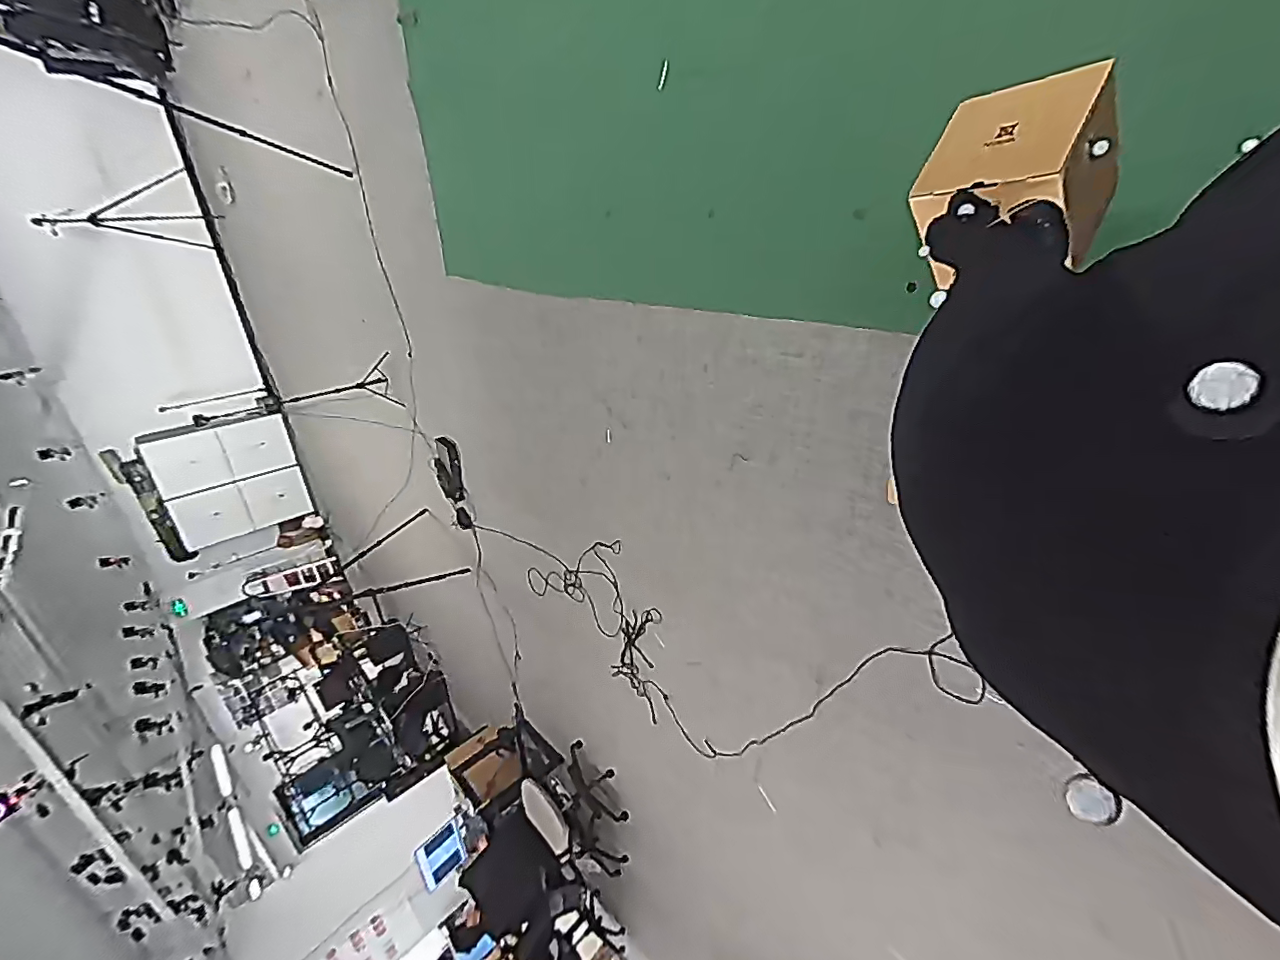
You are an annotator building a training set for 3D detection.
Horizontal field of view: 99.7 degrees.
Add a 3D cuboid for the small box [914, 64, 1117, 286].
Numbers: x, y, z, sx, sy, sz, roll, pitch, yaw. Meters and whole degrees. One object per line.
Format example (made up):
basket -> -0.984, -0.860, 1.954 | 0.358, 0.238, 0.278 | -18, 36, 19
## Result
small box -> 0.497, -0.384, 0.714 | 0.168, 0.179, 0.176 | 19, 165, 49
